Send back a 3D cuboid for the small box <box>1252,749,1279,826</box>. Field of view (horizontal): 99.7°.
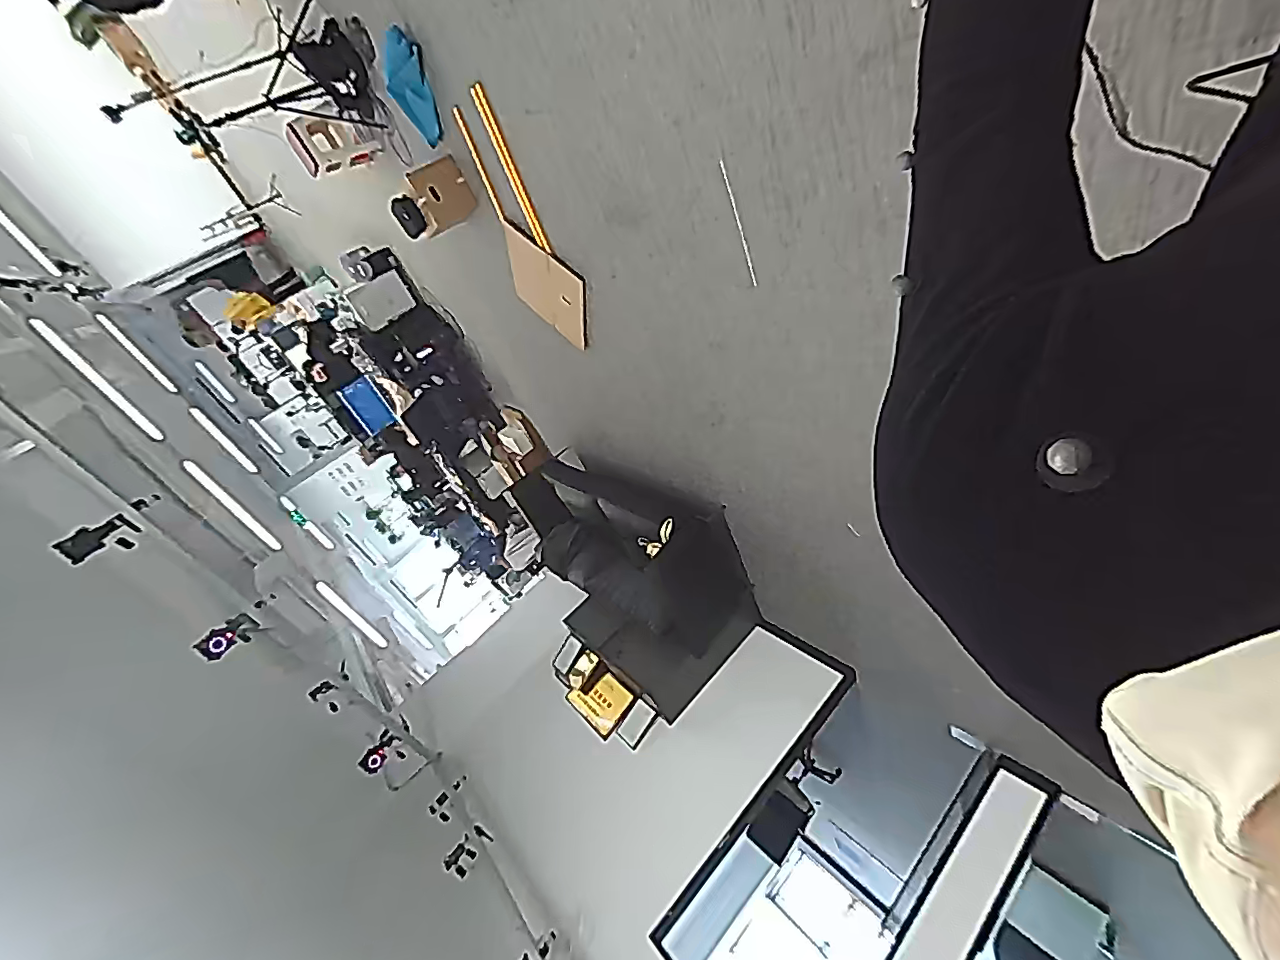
[{"bbox_3d":[1.658,0.768,1.304,0.179,0.176,0.168,27,150,41],"label":"small box"}]
